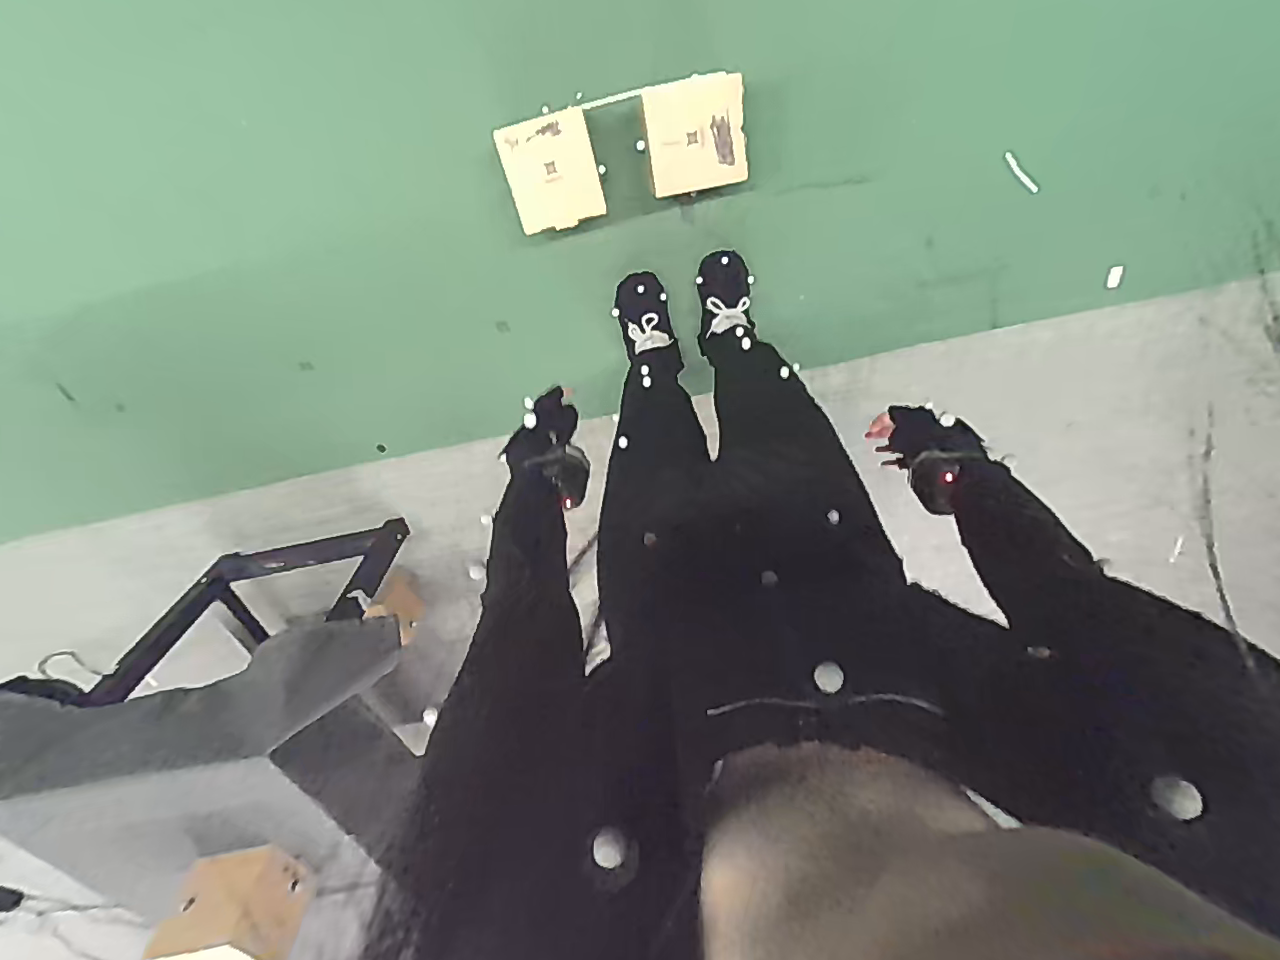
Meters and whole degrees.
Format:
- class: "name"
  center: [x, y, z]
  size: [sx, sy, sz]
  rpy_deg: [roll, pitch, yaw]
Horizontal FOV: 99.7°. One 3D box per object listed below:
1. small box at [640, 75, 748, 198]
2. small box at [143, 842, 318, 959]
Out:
- class: "small box"
  center: [0.099, -0.650, 1.030]
  size: [0.179, 0.176, 0.168]
  rpy_deg: [-9, 121, 4]
- class: "small box"
  center: [-0.782, 0.843, 1.056]
  size: [0.179, 0.176, 0.168]
  rpy_deg: [-14, 122, 6]
